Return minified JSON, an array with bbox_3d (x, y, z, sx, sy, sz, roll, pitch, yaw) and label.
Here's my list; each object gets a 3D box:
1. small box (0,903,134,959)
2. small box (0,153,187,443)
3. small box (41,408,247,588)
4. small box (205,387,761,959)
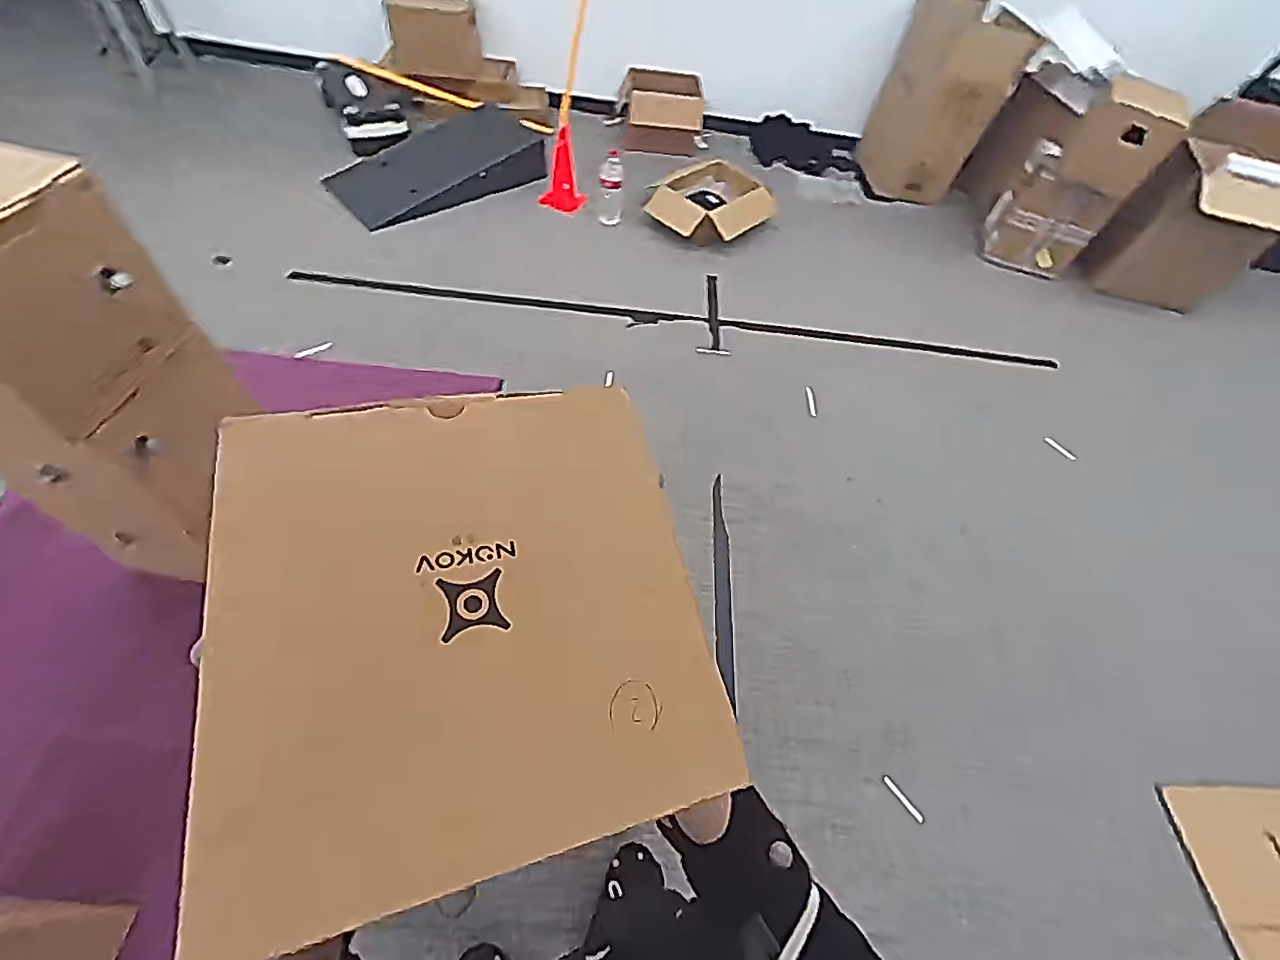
[{"bbox_3d":[-0.583,0.447,0.428,0.179,0.176,0.168,7,55,-4],"label":"small box"},{"bbox_3d":[-0.548,-0.151,0.450,0.179,0.176,0.168,11,54,1],"label":"small box"},{"bbox_3d":[-0.588,0.031,0.718,0.179,0.176,0.168,10,55,0],"label":"small box"},{"bbox_3d":[-0.071,0.081,0.264,0.168,0.176,0.179,-8,62,-18],"label":"small box"}]
